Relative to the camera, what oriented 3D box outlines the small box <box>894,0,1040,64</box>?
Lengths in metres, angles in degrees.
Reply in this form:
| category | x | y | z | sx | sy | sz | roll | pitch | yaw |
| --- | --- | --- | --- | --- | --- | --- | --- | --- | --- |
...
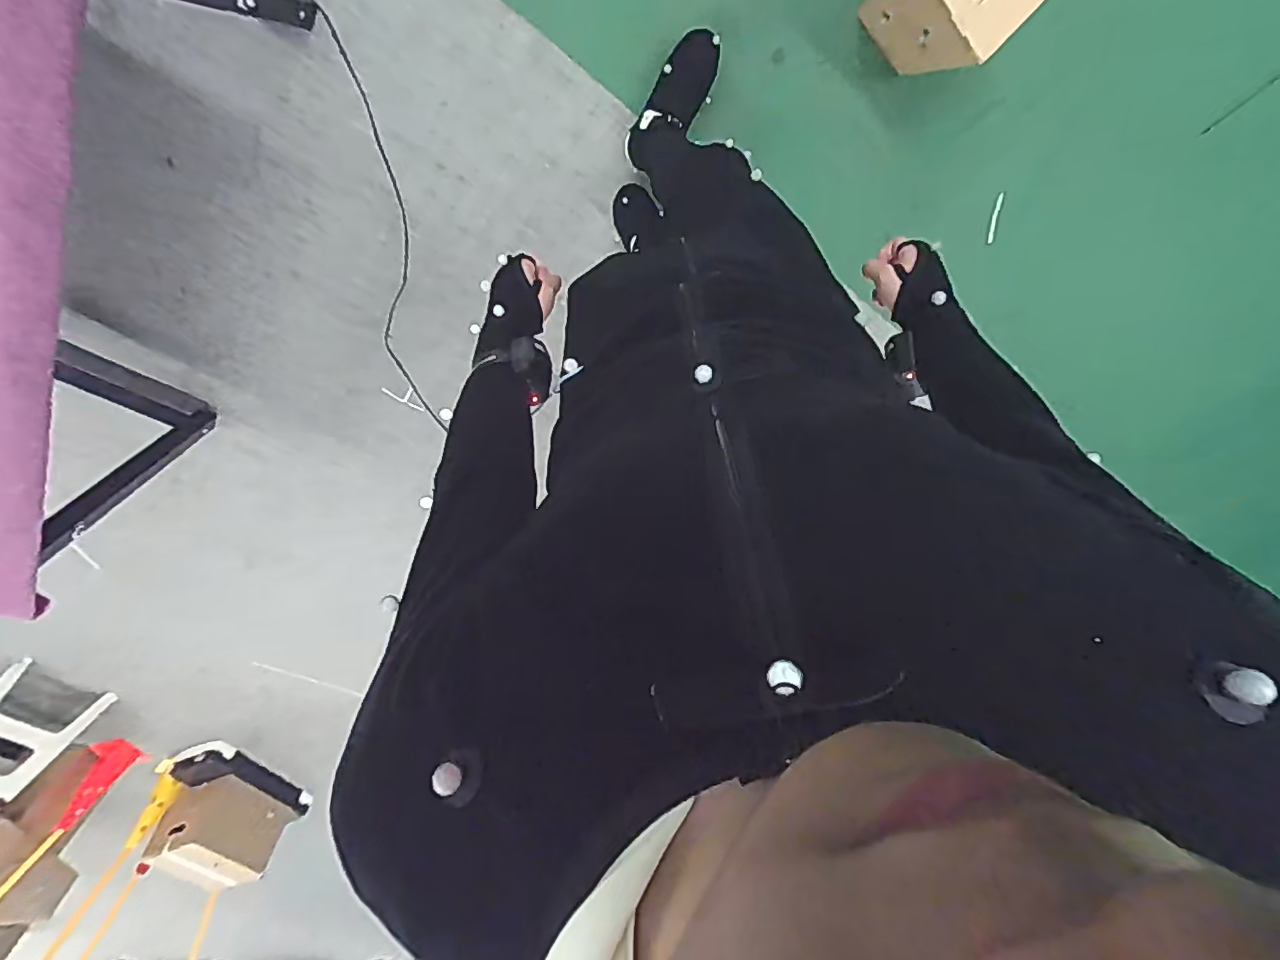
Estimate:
| category | x | y | z | sx | sy | sz | roll | pitch | yaw |
| --- | --- | --- | --- | --- | --- | --- | --- | --- | --- |
| small box | 0.590 | -0.879 | 0.949 | 0.168 | 0.176 | 0.179 | 35 | 116 | -24 |
